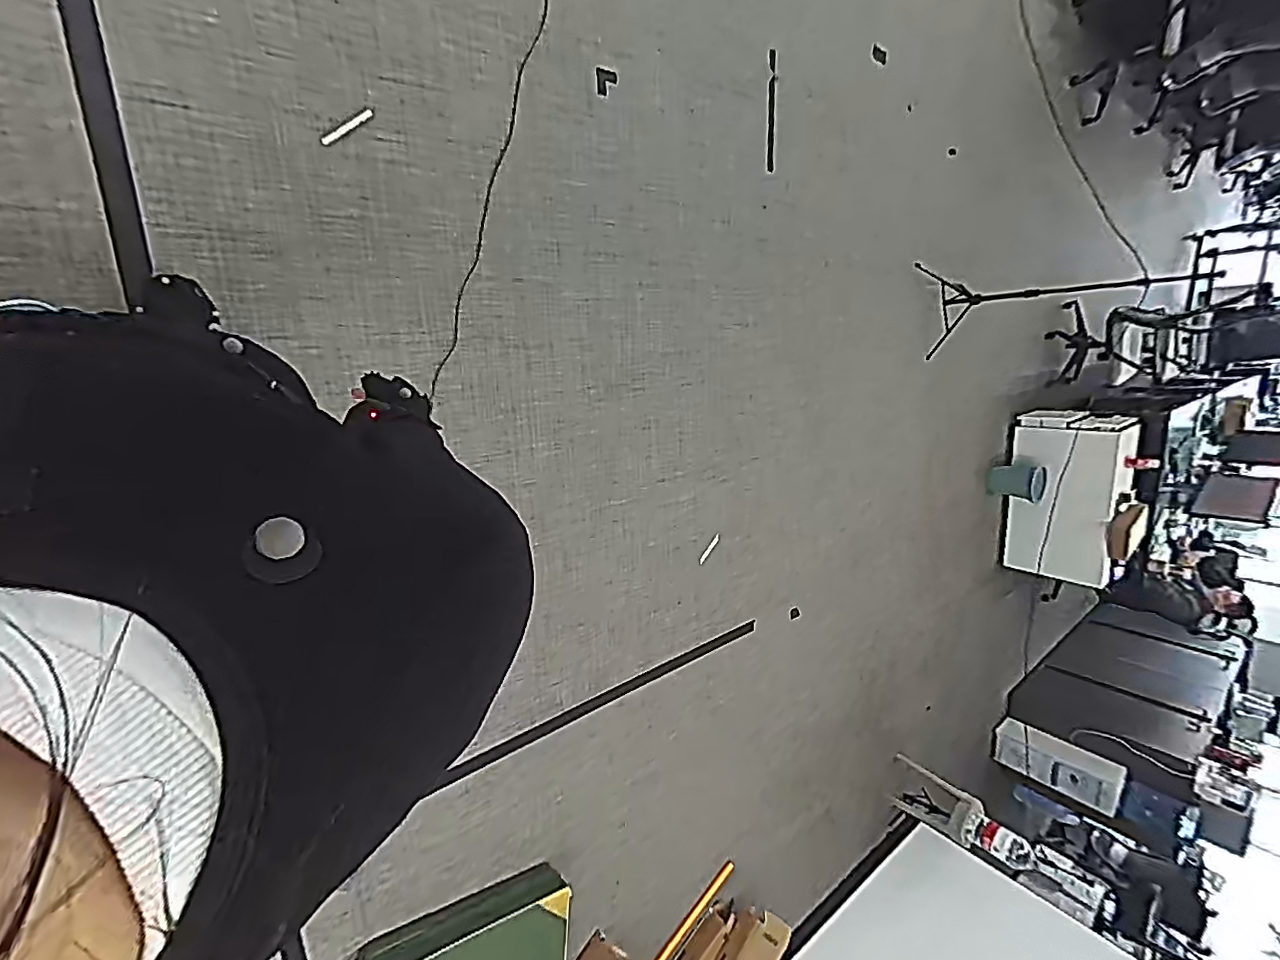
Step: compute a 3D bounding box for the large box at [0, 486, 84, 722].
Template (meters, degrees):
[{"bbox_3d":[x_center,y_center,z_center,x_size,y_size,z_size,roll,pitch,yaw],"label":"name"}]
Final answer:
[{"bbox_3d":[-0.907,0.102,0.562,0.320,0.408,0.320,-32,145,-36],"label":"large box"}]
